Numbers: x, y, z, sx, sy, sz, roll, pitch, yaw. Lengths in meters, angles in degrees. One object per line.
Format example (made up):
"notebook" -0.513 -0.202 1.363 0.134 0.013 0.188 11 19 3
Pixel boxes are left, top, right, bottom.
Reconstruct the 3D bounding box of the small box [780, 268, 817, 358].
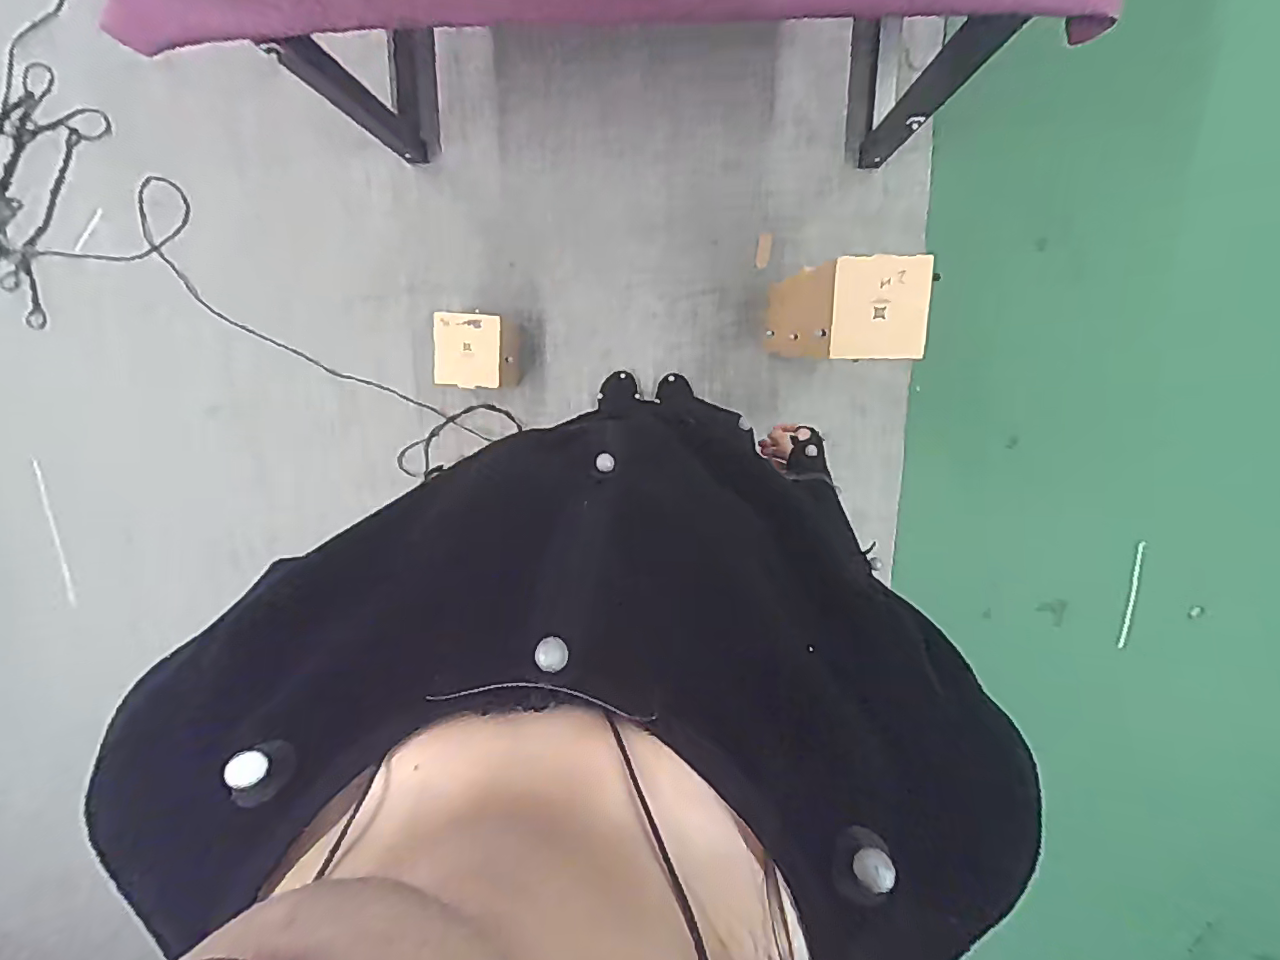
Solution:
"small box" 0.406 -0.357 1.179 0.168 0.176 0.179 0 103 2

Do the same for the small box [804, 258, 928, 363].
"small box" 0.413 -0.313 1.020 0.168 0.176 0.179 0 103 2

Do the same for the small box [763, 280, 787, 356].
"small box" 0.408 -0.392 1.337 0.179 0.176 0.168 2 102 2

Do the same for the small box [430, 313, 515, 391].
"small box" -0.425 -0.326 1.387 0.168 0.176 0.179 5 102 1
